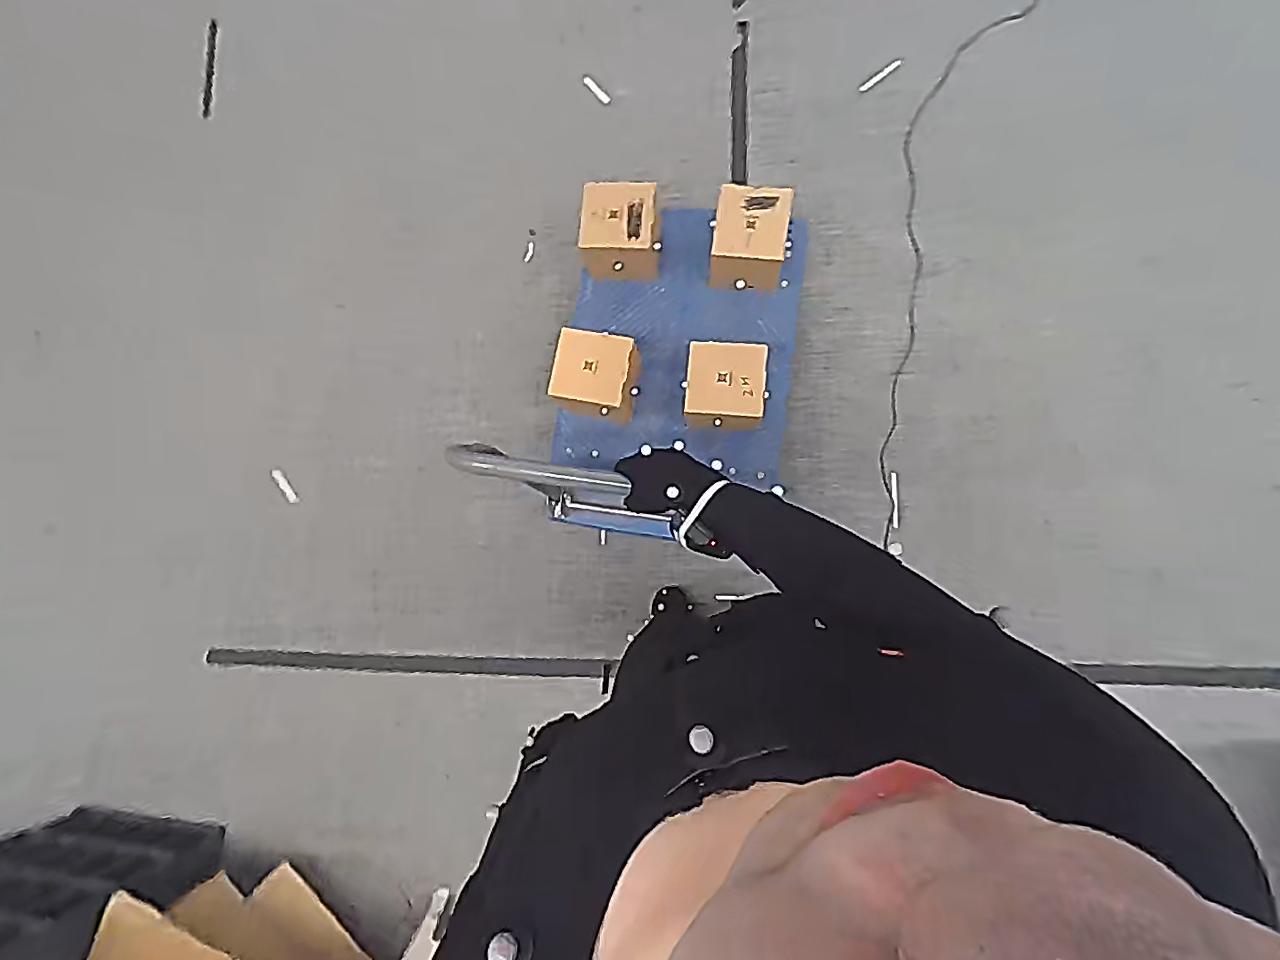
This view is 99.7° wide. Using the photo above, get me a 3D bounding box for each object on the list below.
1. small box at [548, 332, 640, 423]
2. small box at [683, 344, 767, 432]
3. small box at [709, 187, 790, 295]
[{"bbox_3d":[-0.106,-0.244,1.326,0.179,0.176,0.168,10,84,6],"label":"small box"},{"bbox_3d":[0.200,-0.213,1.284,0.179,0.176,0.168,4,84,8],"label":"small box"},{"bbox_3d":[0.261,-0.578,1.319,0.168,0.176,0.179,7,85,8],"label":"small box"}]
